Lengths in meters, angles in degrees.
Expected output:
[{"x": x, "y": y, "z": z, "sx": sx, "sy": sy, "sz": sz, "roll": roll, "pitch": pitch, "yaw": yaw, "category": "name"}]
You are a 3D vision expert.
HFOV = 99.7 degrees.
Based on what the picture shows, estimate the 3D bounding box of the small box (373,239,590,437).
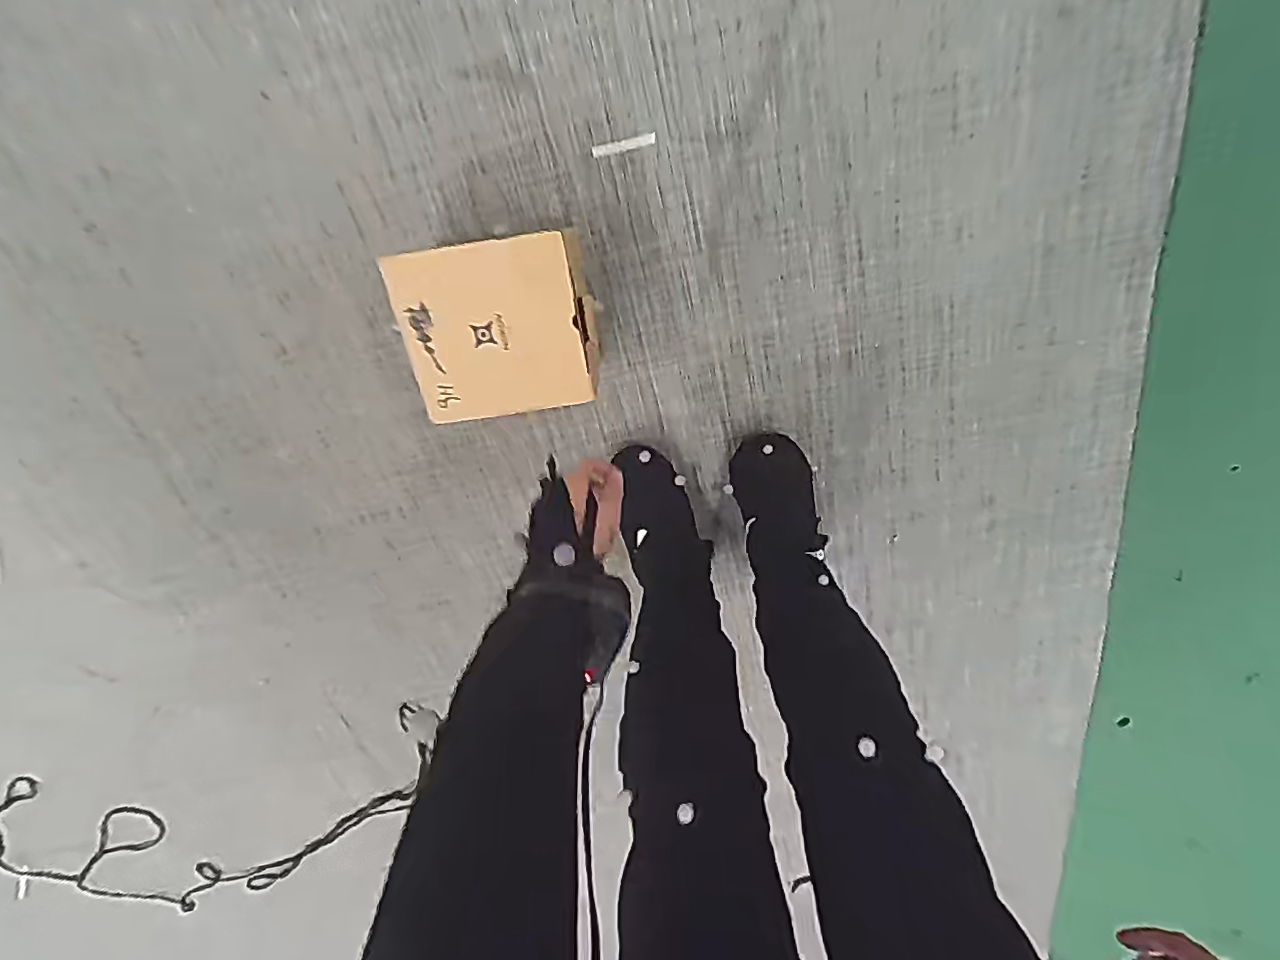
[{"x": -0.154, "y": -0.165, "z": 0.598, "sx": 0.179, "sy": 0.176, "sz": 0.168, "roll": -8, "pitch": 117, "yaw": 1, "category": "small box"}]
